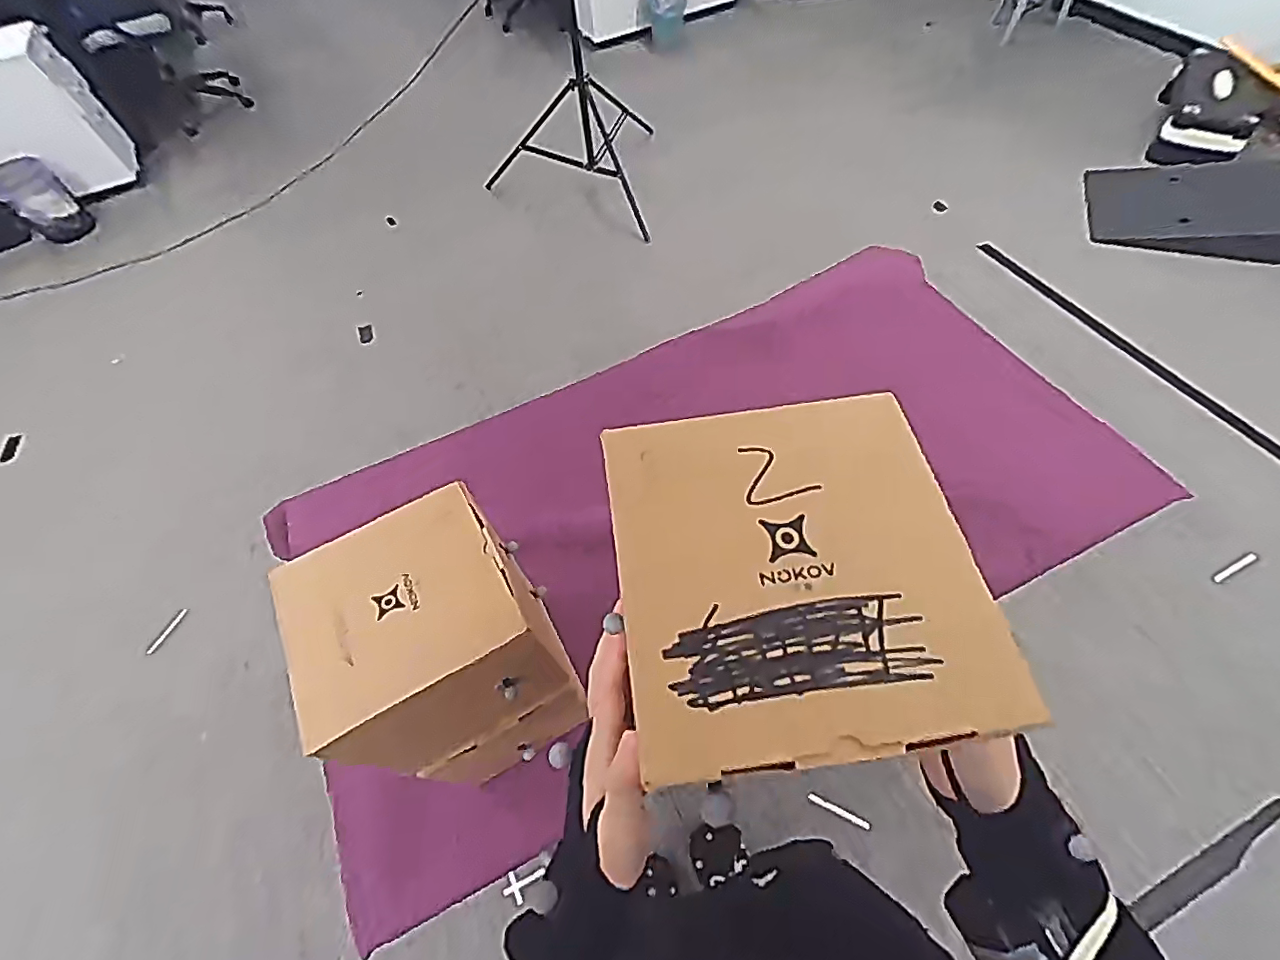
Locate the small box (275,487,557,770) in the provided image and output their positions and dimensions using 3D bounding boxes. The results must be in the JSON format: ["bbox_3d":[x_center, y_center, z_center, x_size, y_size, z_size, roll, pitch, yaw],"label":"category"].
[{"bbox_3d":[-0.192,0.143,0.507,0.179,0.176,0.168,-29,59,-12],"label":"small box"}]

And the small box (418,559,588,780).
[{"bbox_3d":[-0.178,0.229,0.643,0.168,0.176,0.179,-27,60,-12],"label":"small box"}]
